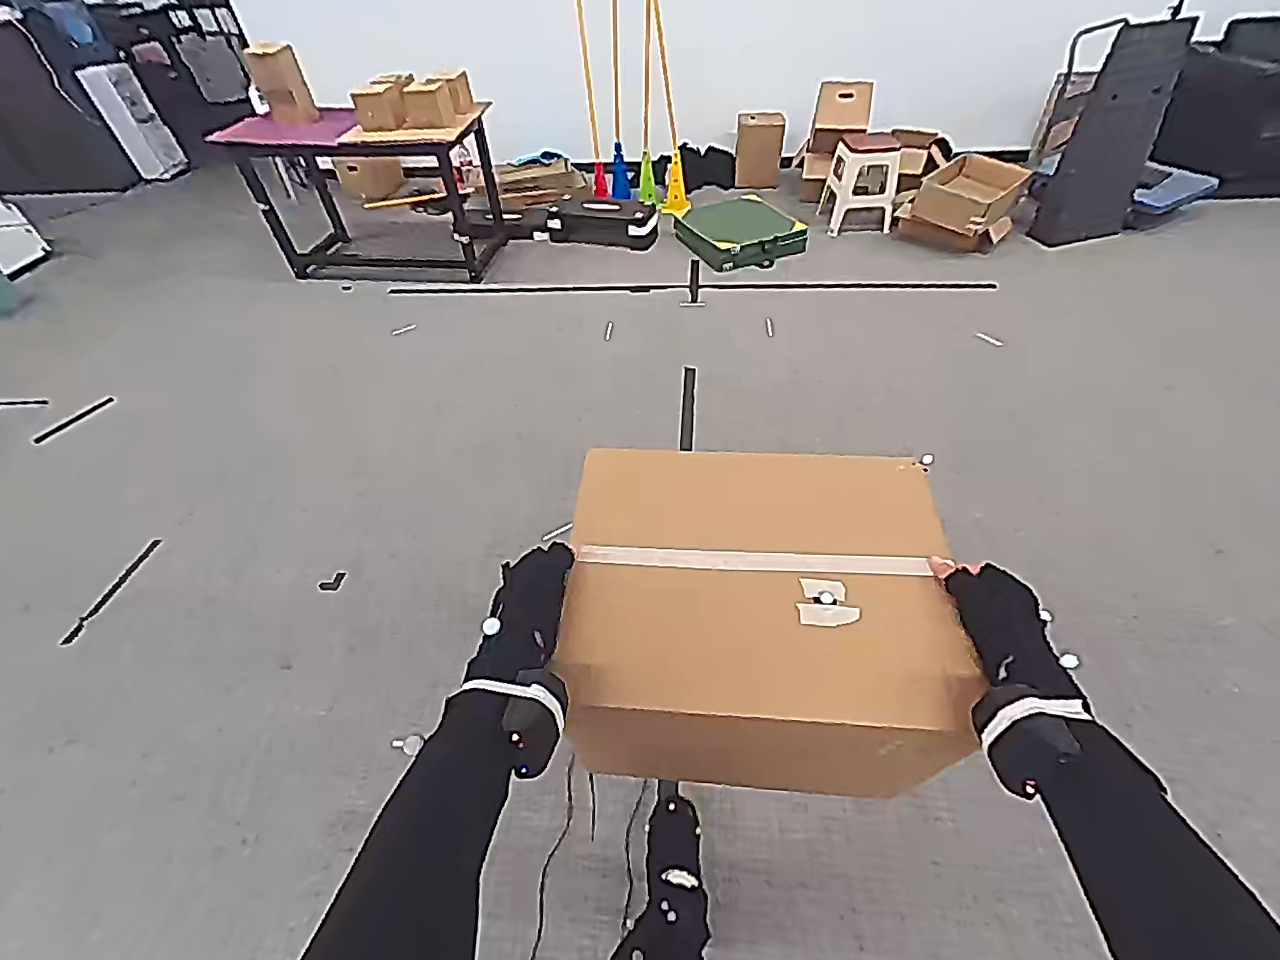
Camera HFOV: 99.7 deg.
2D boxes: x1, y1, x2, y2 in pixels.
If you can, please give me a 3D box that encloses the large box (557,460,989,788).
[{"bbox_3d":[0.133,0.189,0.705,0.408,0.320,0.320,2,51,5],"label":"large box"}]
